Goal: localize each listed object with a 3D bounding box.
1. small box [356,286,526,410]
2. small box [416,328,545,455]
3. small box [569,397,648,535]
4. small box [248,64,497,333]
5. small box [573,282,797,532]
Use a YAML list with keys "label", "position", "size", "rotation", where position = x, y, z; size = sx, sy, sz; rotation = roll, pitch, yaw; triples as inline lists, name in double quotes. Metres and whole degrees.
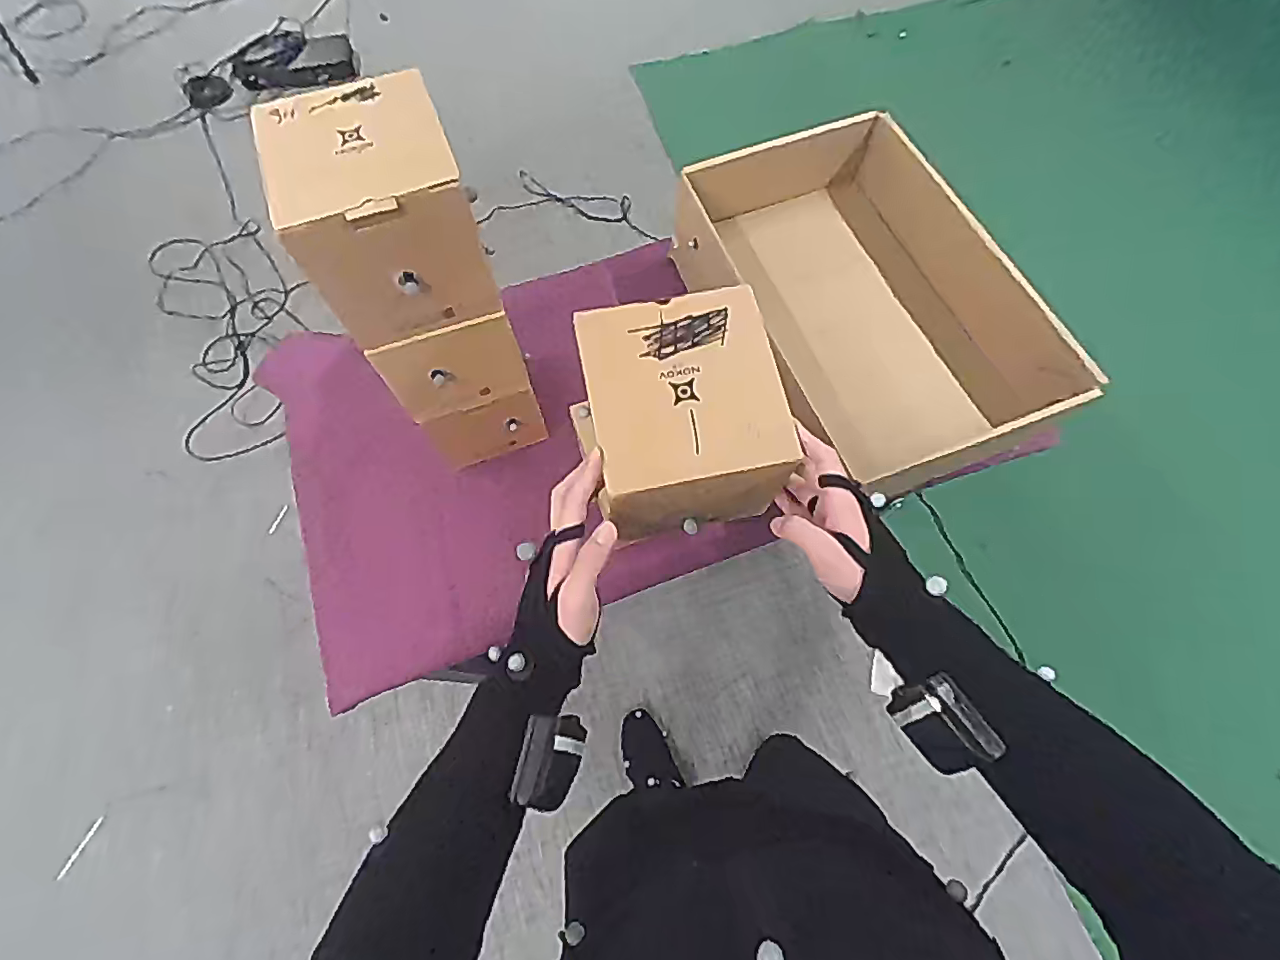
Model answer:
- label: "small box"
  position: [-0.263, -0.213, 0.718]
  size: [0.168, 0.176, 0.179]
  rotation: [-19, 69, -8]
- label: "small box"
  position: [-0.262, -0.157, 0.870]
  size: [0.168, 0.176, 0.179]
  rotation: [-19, 69, -8]
- label: "small box"
  position: [0.005, -0.029, 0.812]
  size: [0.168, 0.176, 0.179]
  rotation: [-18, 68, -7]
- label: "small box"
  position: [-0.264, -0.279, 0.568]
  size: [0.168, 0.176, 0.179]
  rotation: [-20, 70, -8]
- label: "small box"
  position: [0.034, -0.062, 0.540]
  size: [0.168, 0.176, 0.179]
  rotation: [-11, 72, -3]
